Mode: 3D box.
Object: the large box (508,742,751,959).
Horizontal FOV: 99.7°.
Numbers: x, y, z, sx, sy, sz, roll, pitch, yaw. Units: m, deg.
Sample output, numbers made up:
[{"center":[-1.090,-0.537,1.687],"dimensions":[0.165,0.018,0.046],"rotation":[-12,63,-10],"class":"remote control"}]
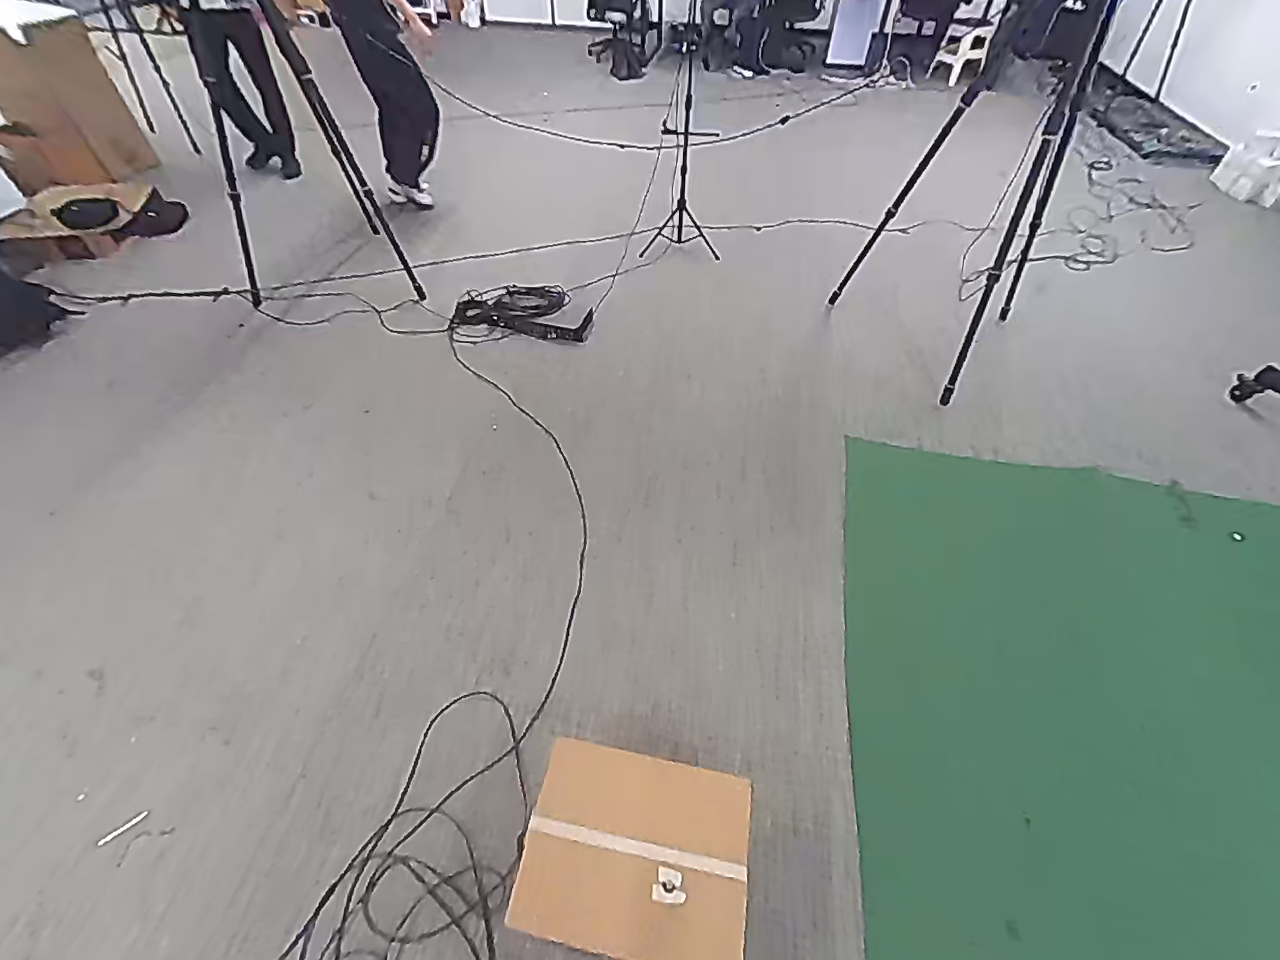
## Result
[{"center":[-0.010,0.775,1.096],"dimensions":[0.408,0.320,0.320],"rotation":[10,49,6],"class":"large box"}]
